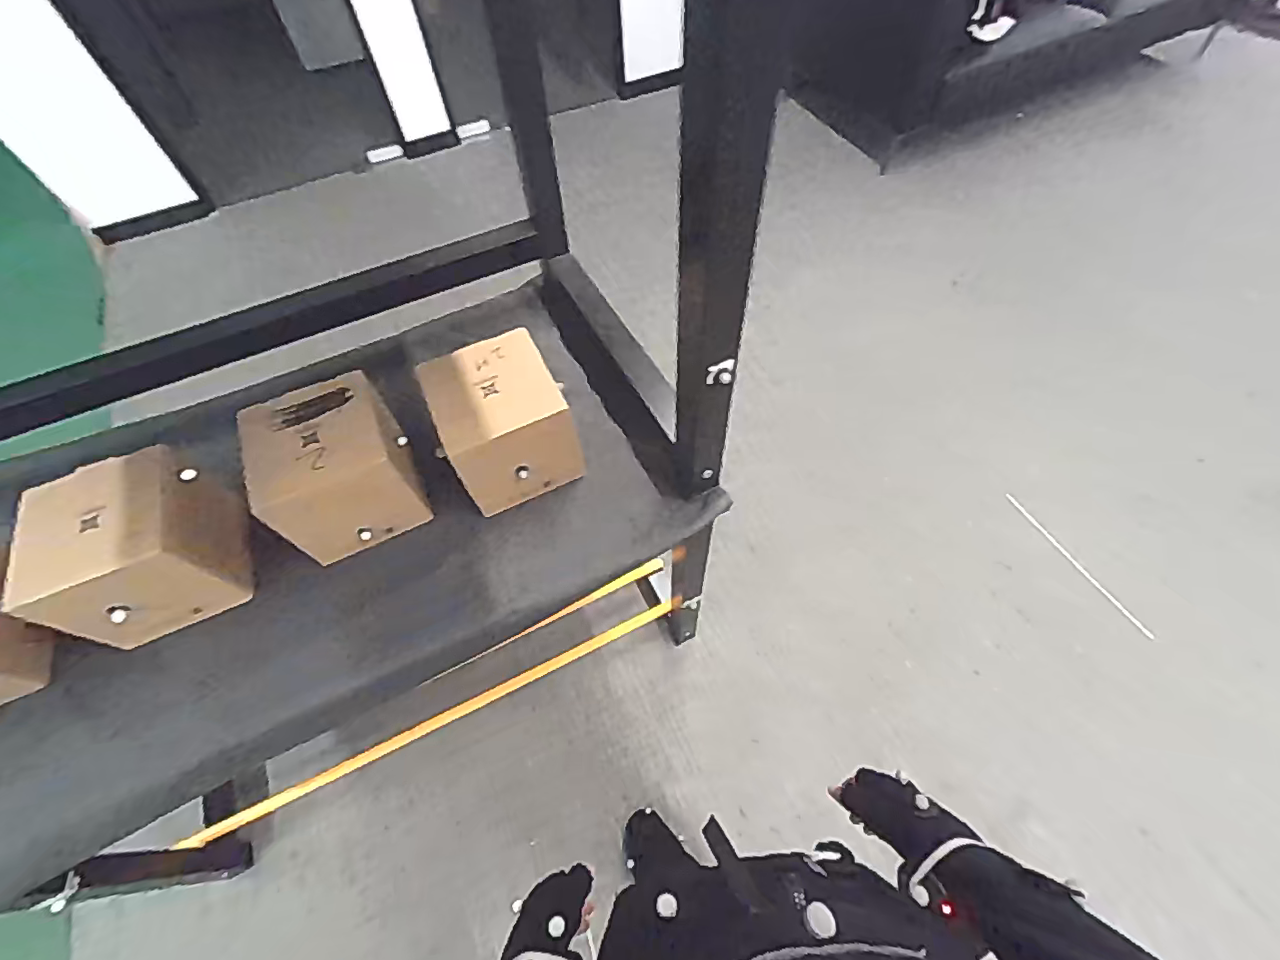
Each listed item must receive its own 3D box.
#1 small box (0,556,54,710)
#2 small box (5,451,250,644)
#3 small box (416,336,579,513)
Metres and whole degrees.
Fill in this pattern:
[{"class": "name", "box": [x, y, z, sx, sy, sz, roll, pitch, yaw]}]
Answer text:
[{"class": "small box", "box": [-0.880, 0.195, 0.660, 0.168, 0.176, 0.179, -23, 60, -11]}, {"class": "small box", "box": [-0.653, 0.098, 0.715, 0.168, 0.176, 0.179, -23, 59, -12]}, {"class": "small box", "box": [-0.201, -0.072, 0.798, 0.168, 0.176, 0.179, -23, 59, -12]}]
